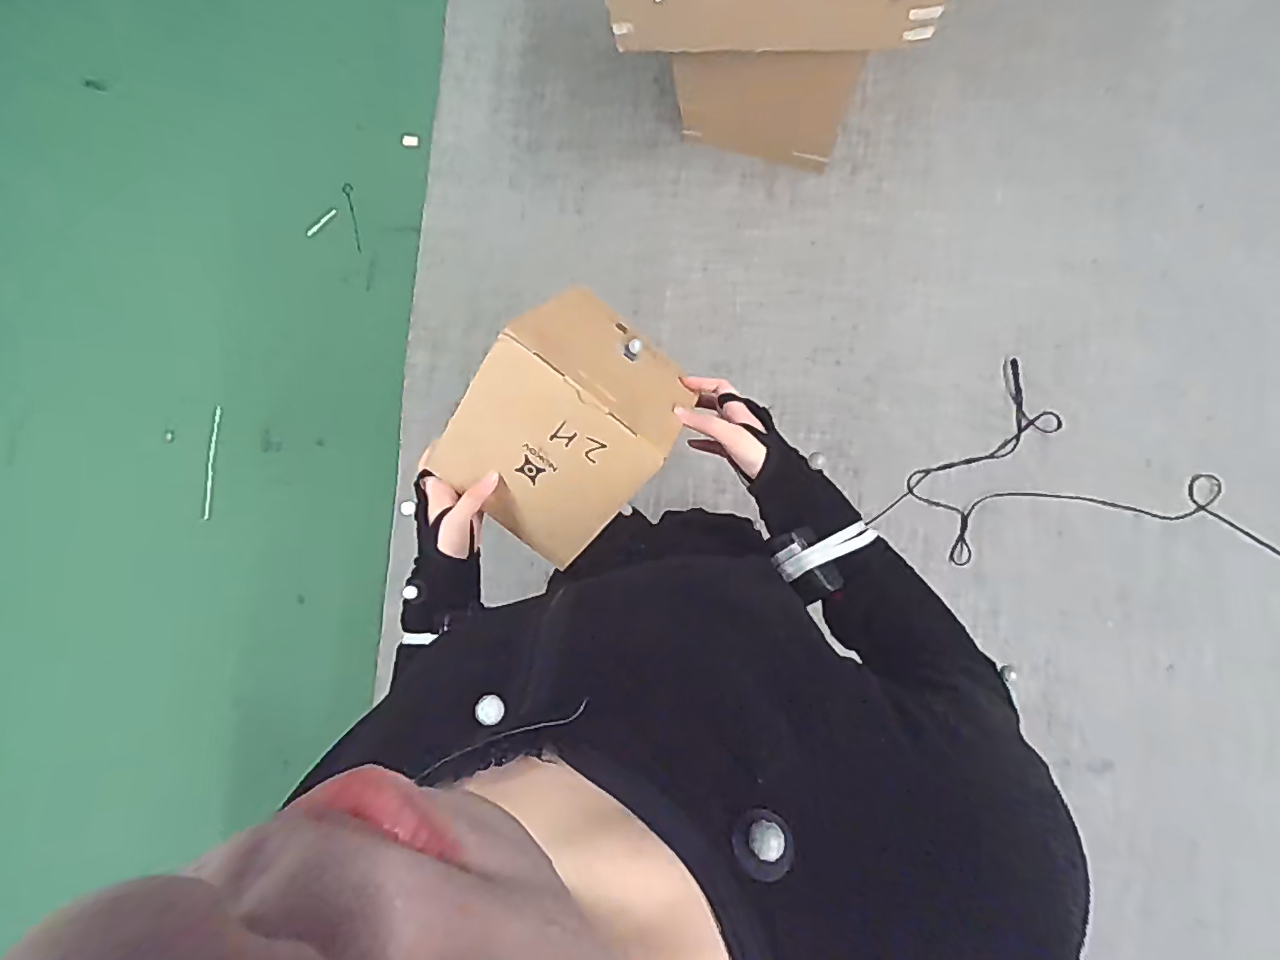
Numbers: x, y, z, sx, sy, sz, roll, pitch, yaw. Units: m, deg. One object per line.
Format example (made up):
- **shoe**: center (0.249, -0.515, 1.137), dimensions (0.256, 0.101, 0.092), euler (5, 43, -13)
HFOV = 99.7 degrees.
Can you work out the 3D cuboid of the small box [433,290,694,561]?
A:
- **small box**: center (-0.065, -0.059, 0.544), dimensions (0.168, 0.176, 0.179), euler (39, 123, -8)
